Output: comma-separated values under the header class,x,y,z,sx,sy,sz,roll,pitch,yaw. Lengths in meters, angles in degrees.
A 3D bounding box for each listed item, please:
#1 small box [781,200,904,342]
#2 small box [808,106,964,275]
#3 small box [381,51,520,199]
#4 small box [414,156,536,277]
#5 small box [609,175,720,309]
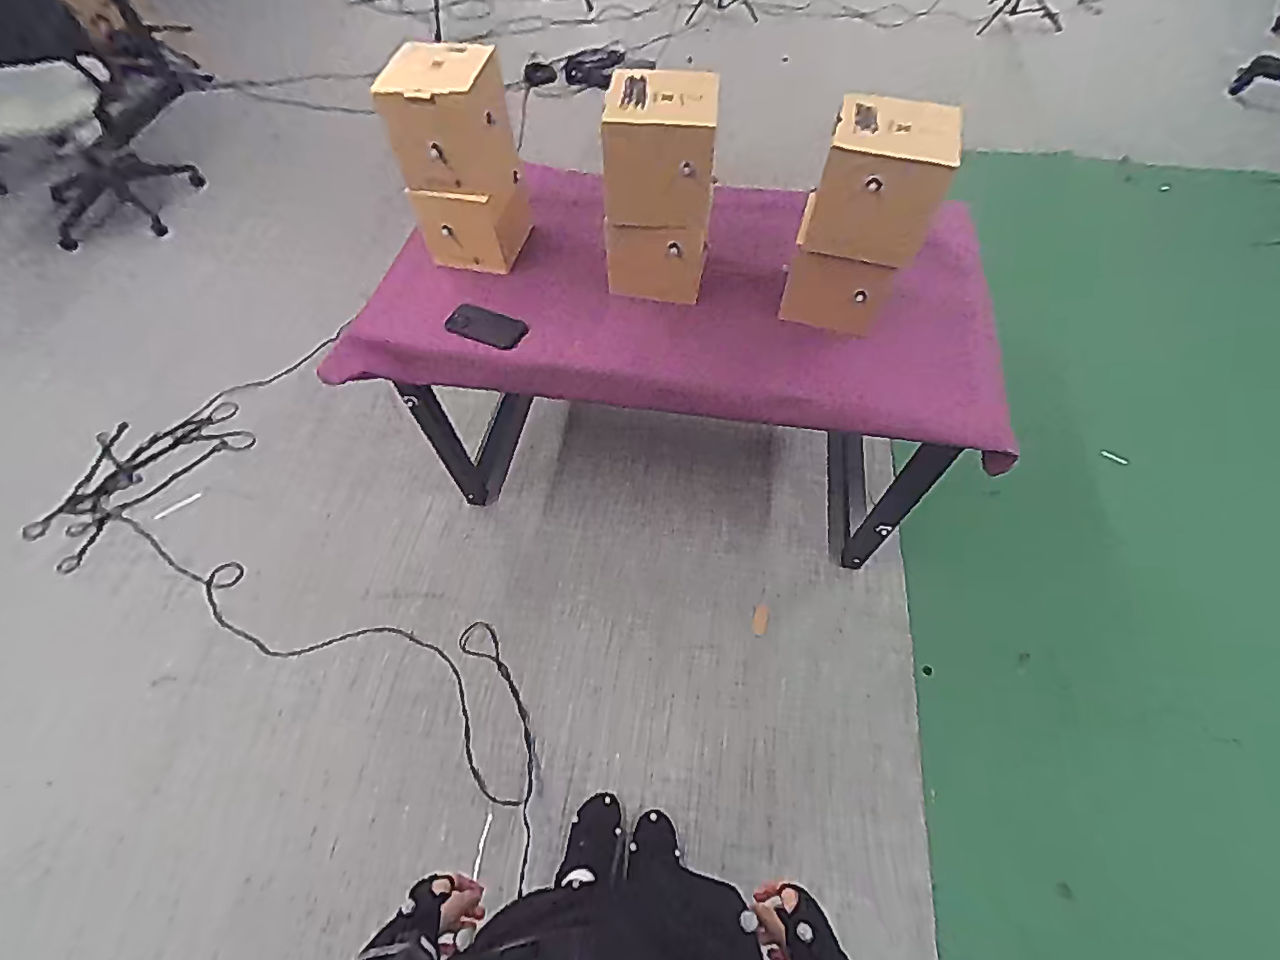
class,x,y,z,sx,sy,sz,roll,pitch,yaw
small box,0.378,-0.381,1.004,0.179,0.176,0.168,16,60,11
small box,0.379,-0.452,0.855,0.179,0.176,0.168,16,60,10
small box,-0.328,-0.638,0.980,0.168,0.176,0.179,7,60,5
small box,-0.327,-0.547,1.117,0.168,0.176,0.179,11,60,8
small box,0.049,-0.457,1.054,0.179,0.176,0.168,11,60,8
